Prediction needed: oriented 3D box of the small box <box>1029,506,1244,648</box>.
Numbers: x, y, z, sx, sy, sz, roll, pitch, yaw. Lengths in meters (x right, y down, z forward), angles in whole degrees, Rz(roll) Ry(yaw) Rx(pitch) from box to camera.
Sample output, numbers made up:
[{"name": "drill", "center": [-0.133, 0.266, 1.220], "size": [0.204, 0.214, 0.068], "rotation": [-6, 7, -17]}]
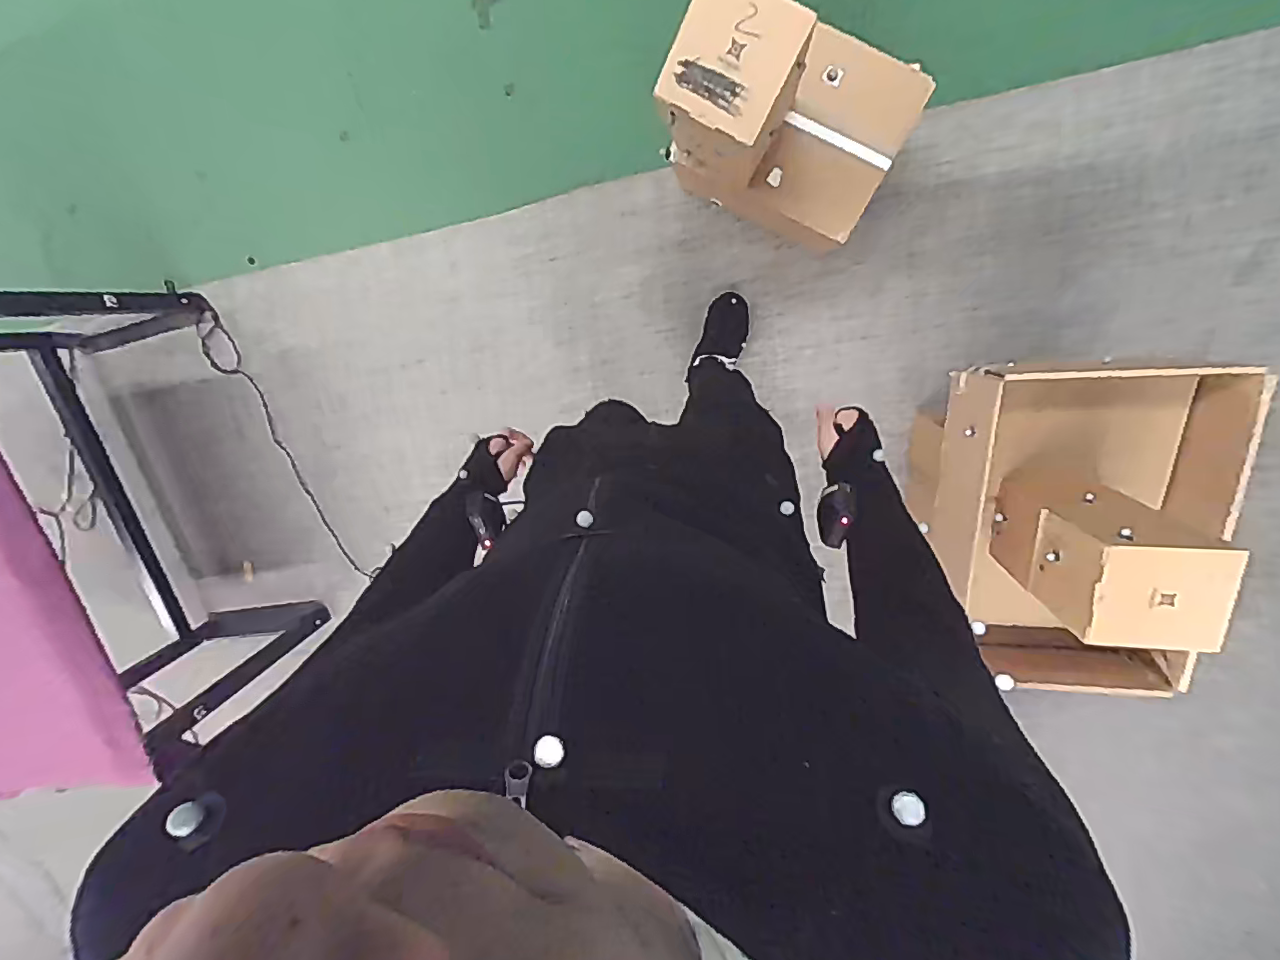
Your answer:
[{"name": "small box", "center": [0.770, 0.146, 0.862], "size": [0.179, 0.176, 0.168], "rotation": [1, 107, 10]}]

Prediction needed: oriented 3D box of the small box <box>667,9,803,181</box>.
[{"name": "small box", "center": [0.168, -0.672, 0.973], "size": [0.168, 0.176, 0.179], "rotation": [30, 110, -2]}]
